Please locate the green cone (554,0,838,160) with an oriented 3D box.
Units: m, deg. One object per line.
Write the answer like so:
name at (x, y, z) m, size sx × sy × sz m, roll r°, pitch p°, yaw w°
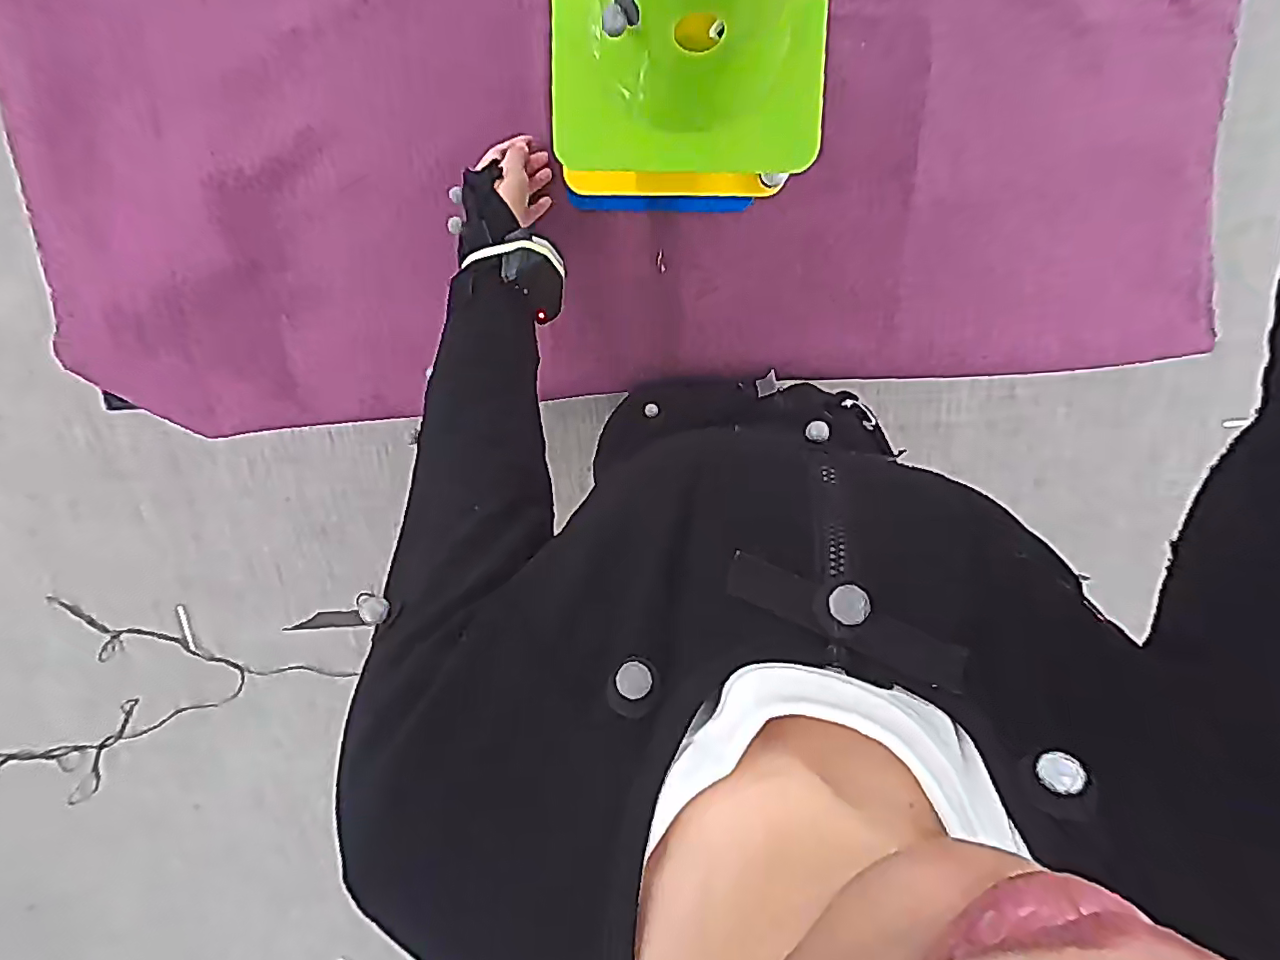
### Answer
green cone at (0.036, -0.308, 0.210) m, size 0.200 × 0.368 × 0.202 m, roll 0°, pitch 99°, yaw 1°
